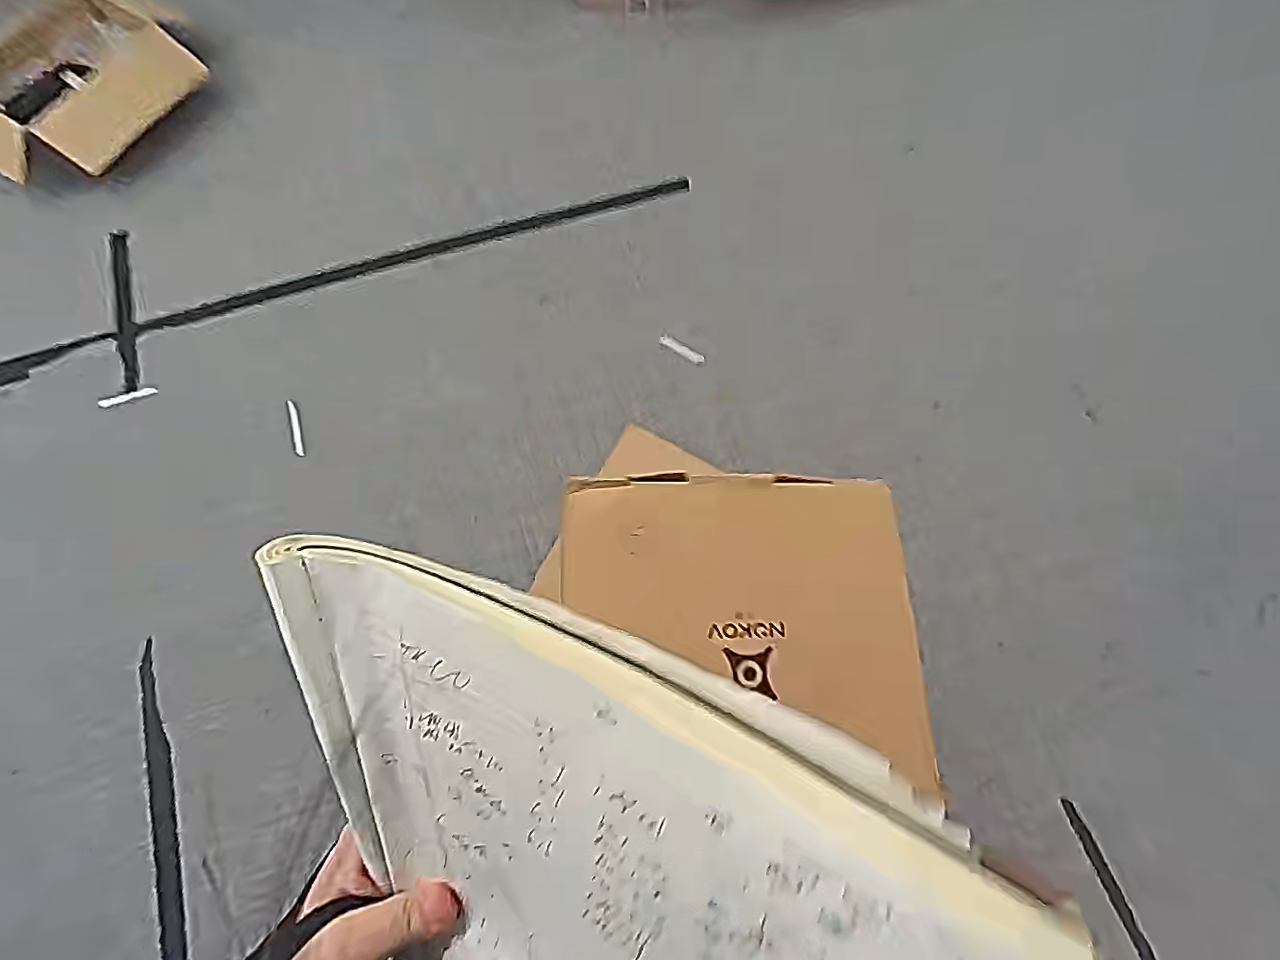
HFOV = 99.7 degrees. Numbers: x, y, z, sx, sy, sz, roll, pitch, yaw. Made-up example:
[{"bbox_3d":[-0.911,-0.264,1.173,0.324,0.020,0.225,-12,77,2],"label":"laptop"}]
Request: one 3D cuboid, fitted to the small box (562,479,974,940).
[{"bbox_3d":[0.039,0.108,0.307,0.168,0.176,0.179,-2,73,-7],"label":"small box"}]
